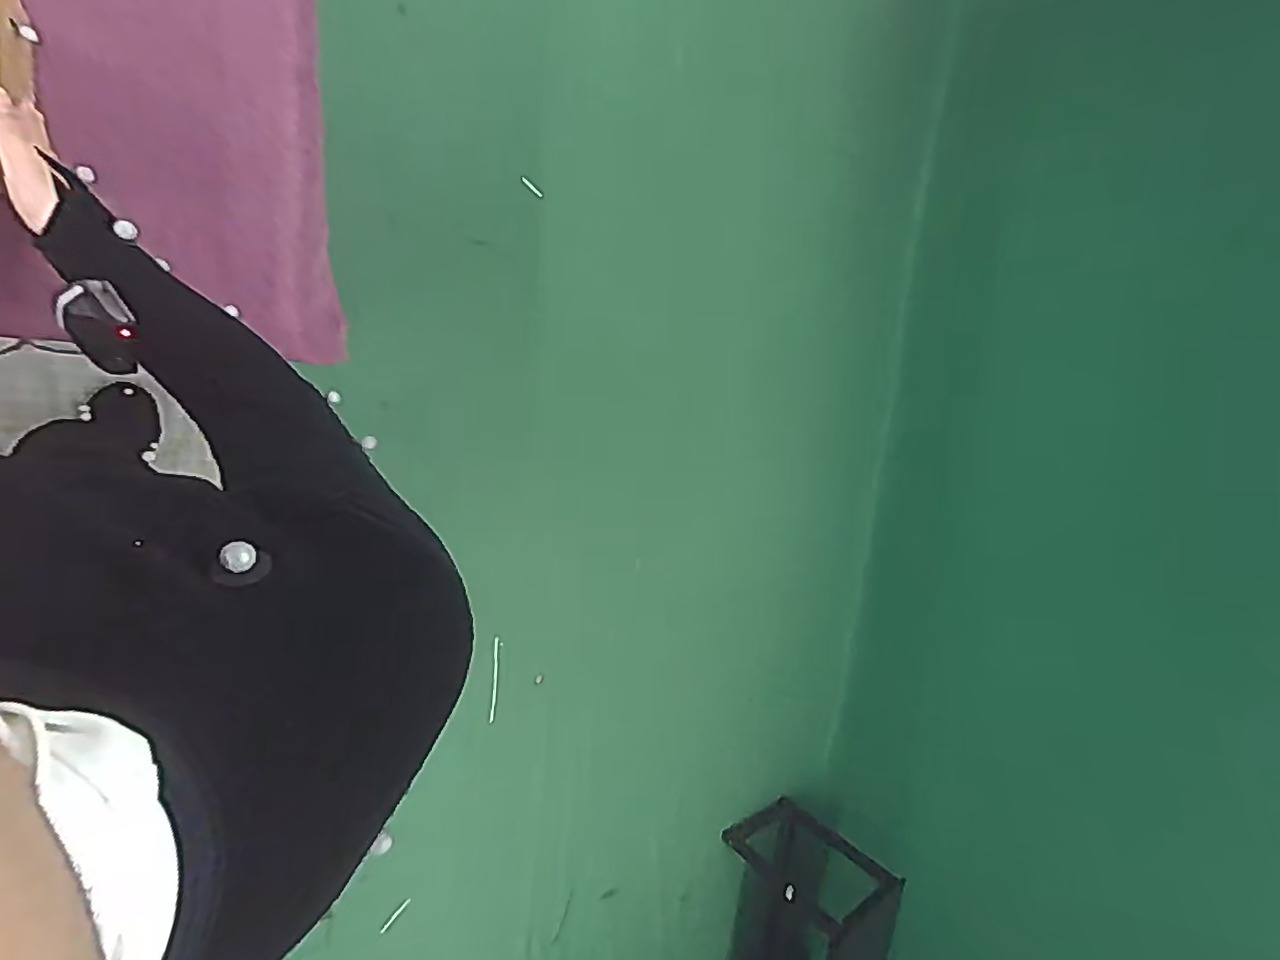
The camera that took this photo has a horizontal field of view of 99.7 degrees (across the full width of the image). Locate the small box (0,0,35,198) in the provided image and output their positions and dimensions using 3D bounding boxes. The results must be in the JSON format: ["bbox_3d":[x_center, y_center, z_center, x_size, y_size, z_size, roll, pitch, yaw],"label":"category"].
[{"bbox_3d":[-0.636,-0.362,0.442,0.168,0.176,0.179,-2,100,-40],"label":"small box"}]
